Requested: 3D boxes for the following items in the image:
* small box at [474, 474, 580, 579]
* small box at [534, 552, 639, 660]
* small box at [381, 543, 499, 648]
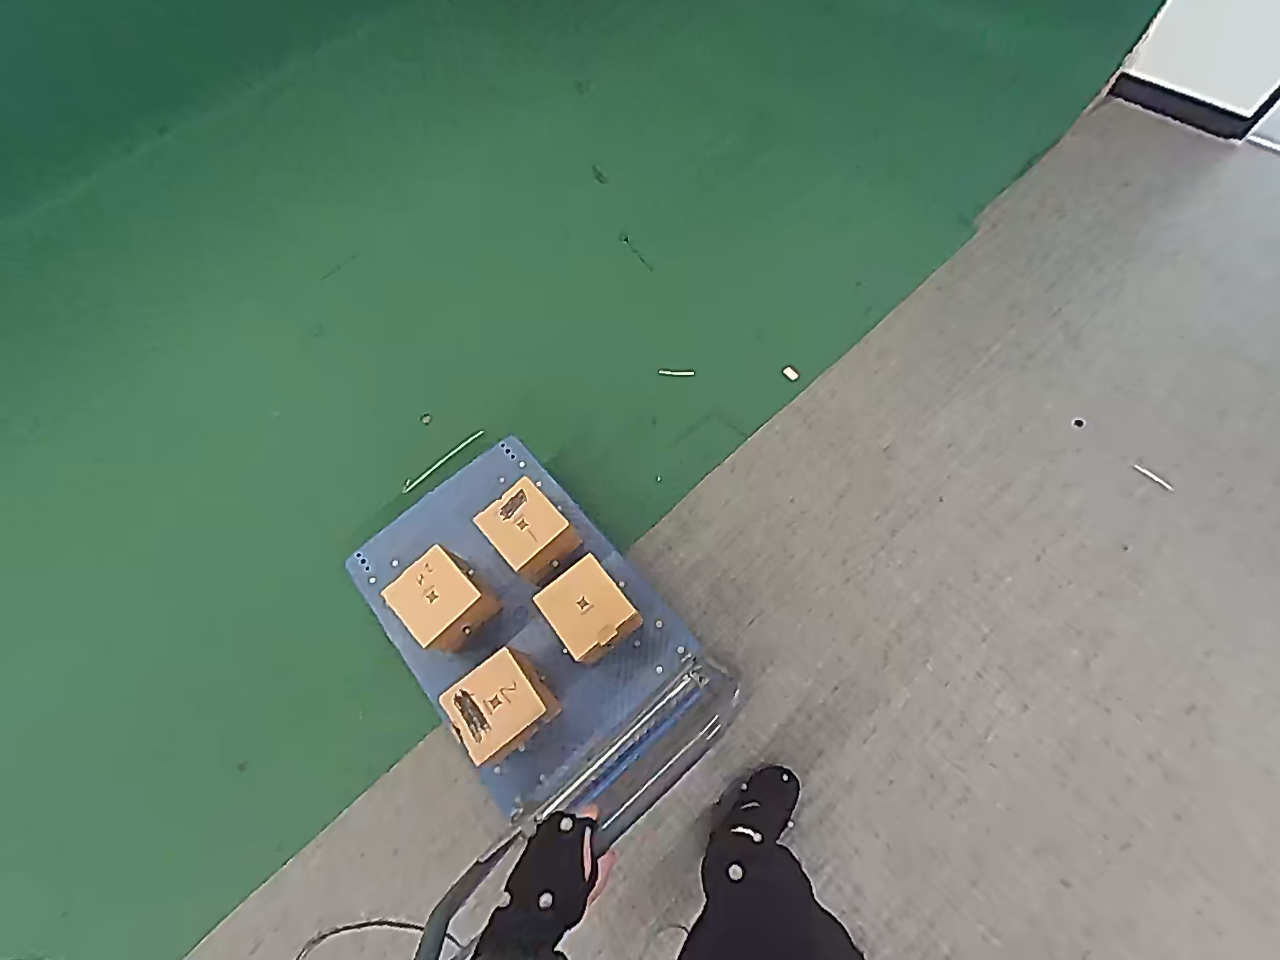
[{"bbox_3d":[-0.273,0.123,1.341,0.168,0.176,0.179,-41,72,-11],"label":"small box"},{"bbox_3d":[-0.119,0.300,1.260,0.168,0.176,0.179,-38,71,-10],"label":"small box"},{"bbox_3d":[-0.467,0.282,1.293,0.168,0.176,0.179,-42,71,-13],"label":"small box"}]
